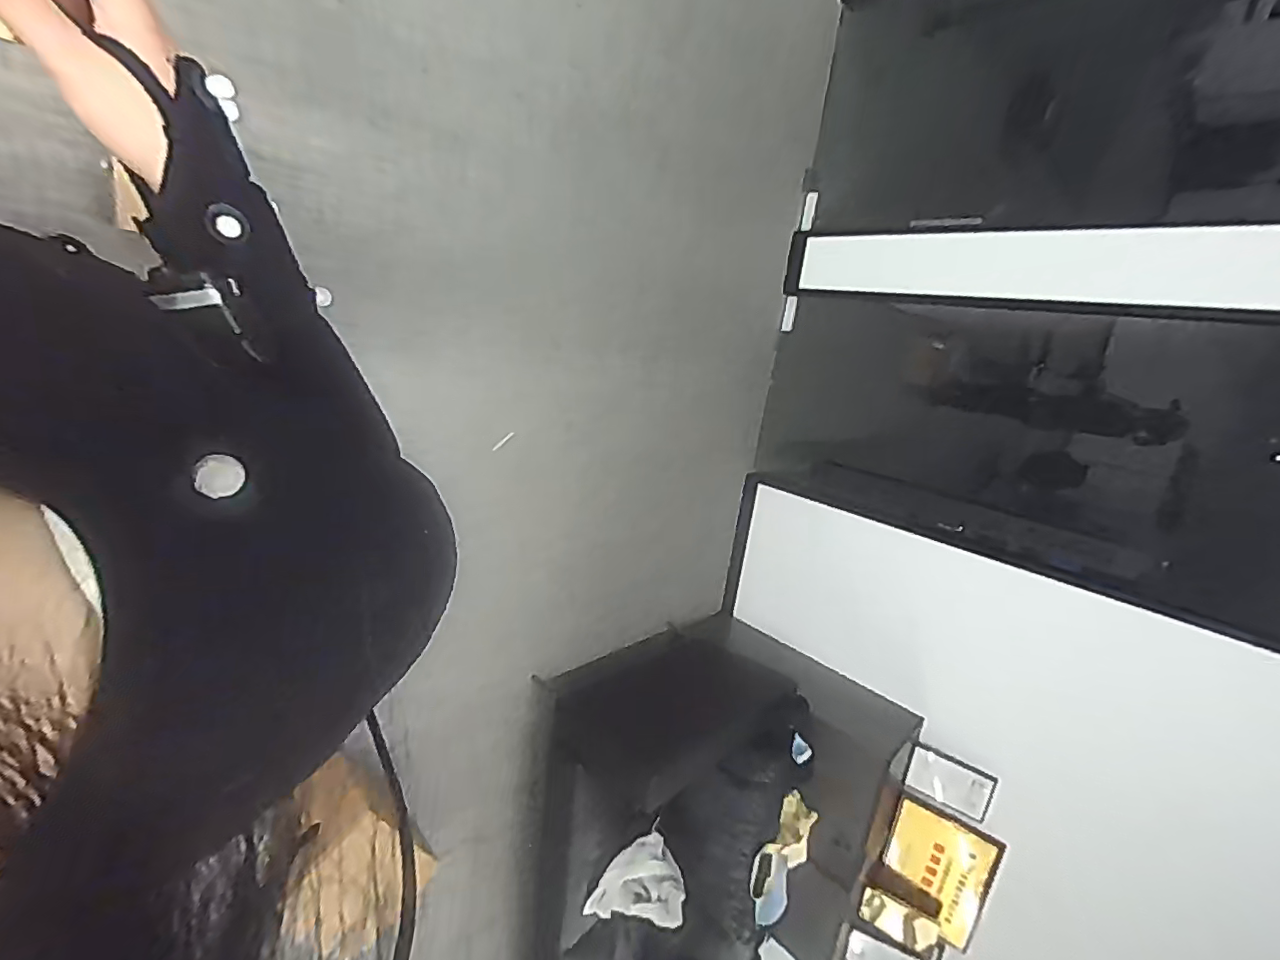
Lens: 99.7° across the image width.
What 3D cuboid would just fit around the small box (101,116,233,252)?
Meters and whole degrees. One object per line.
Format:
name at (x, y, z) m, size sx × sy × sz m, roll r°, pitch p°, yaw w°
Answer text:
small box at (-0.875, -0.535, 1.003) m, size 0.168 × 0.176 × 0.179 m, roll -6°, pitch 110°, yaw -46°

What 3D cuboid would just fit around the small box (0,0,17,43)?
small box at (-0.388, -0.313, 0.214) m, size 0.179 × 0.176 × 0.168 m, roll -4°, pitch 122°, yaw -44°
